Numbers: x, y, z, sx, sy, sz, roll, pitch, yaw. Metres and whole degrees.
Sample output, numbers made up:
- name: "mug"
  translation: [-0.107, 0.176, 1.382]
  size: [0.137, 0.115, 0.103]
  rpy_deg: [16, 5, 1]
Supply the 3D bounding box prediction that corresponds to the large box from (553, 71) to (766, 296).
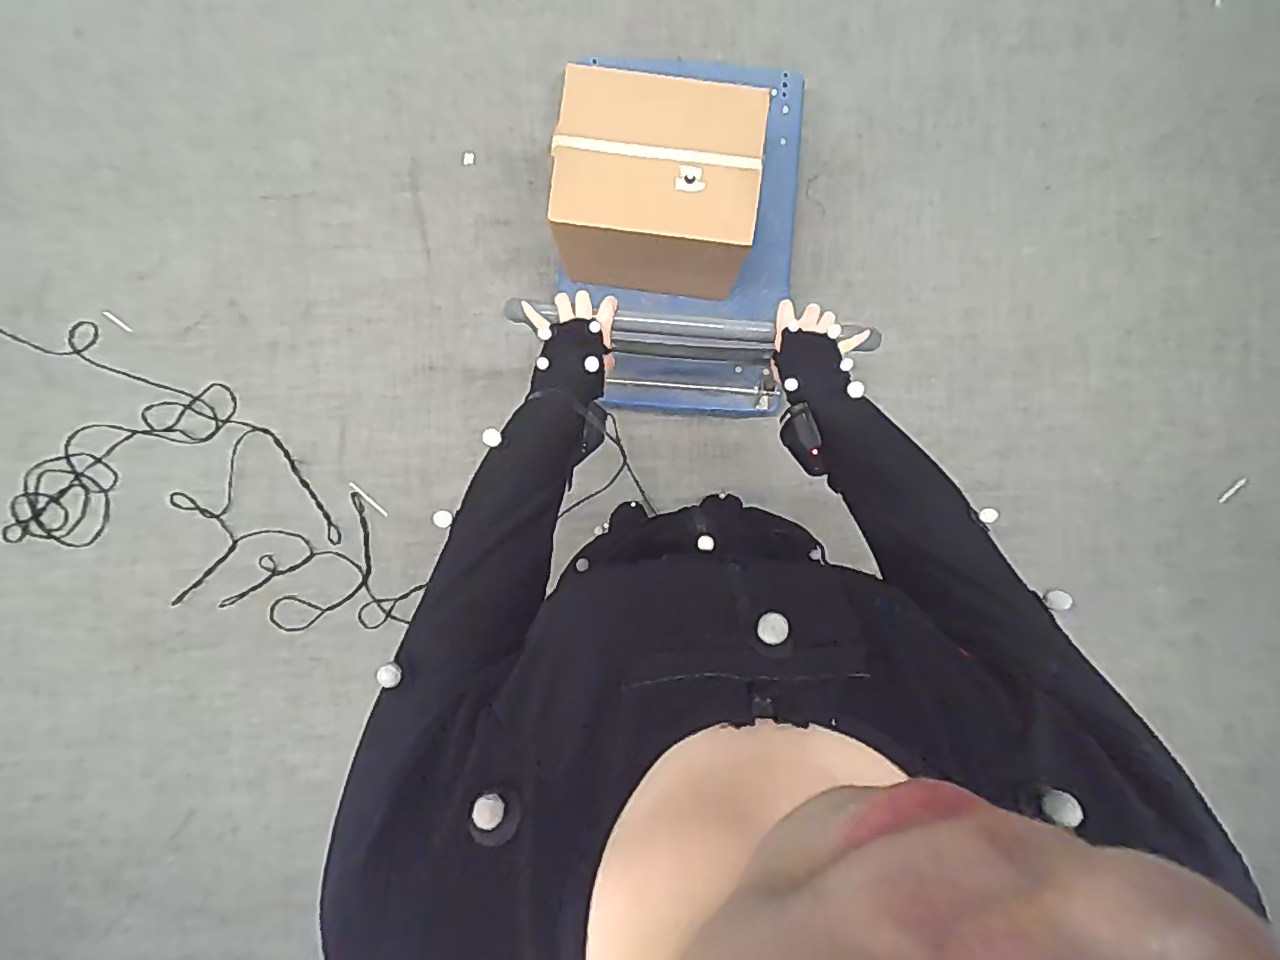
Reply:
- name: "large box"
  translation: [0.034, -0.636, 1.217]
  size: [0.408, 0.320, 0.320]
  rpy_deg: [7, 89, -1]
